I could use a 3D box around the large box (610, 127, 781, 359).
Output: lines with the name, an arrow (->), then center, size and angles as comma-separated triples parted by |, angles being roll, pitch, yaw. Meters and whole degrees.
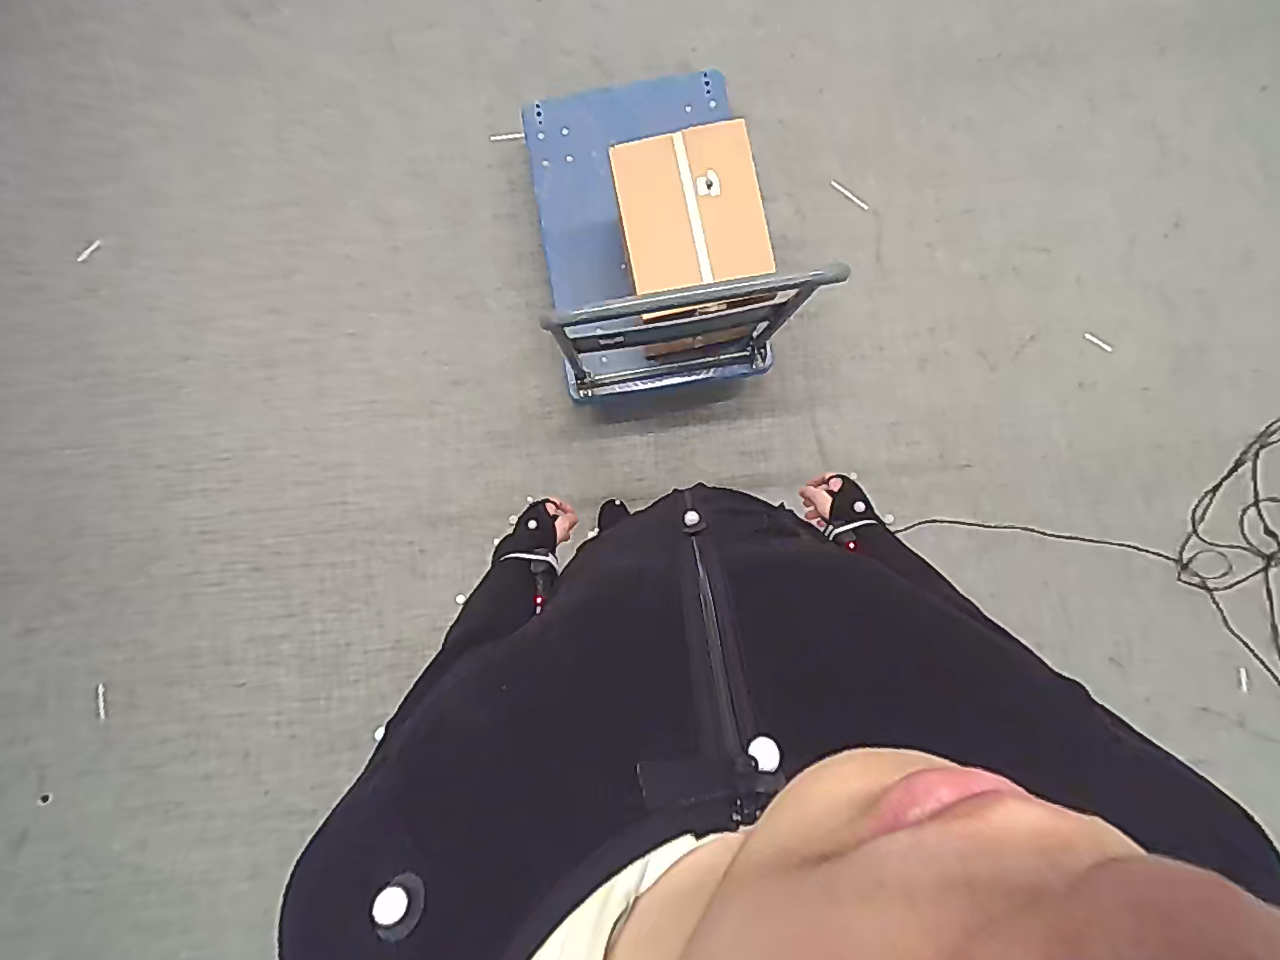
large box -> 0.128, -0.563, 1.353 | 0.320, 0.320, 0.408 | -11, 86, 0
